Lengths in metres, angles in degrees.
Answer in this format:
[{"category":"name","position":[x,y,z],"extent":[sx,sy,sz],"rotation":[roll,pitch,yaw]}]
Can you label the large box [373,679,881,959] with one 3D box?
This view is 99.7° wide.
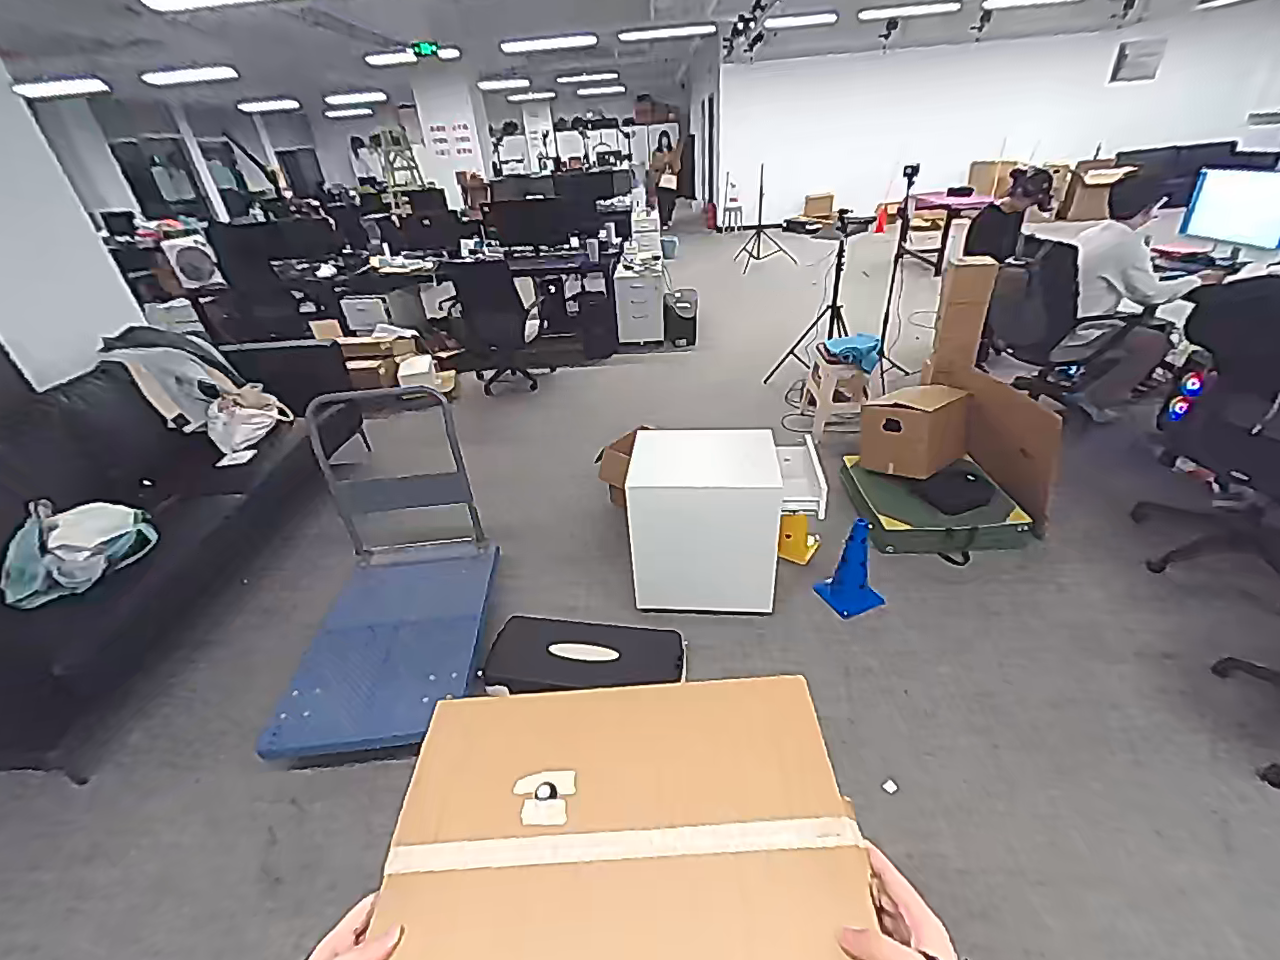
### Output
[{"category":"large box","position":[0.000,0.448,0.563],"extent":[0.408,0.320,0.320],"rotation":[-7,35,4]}]
